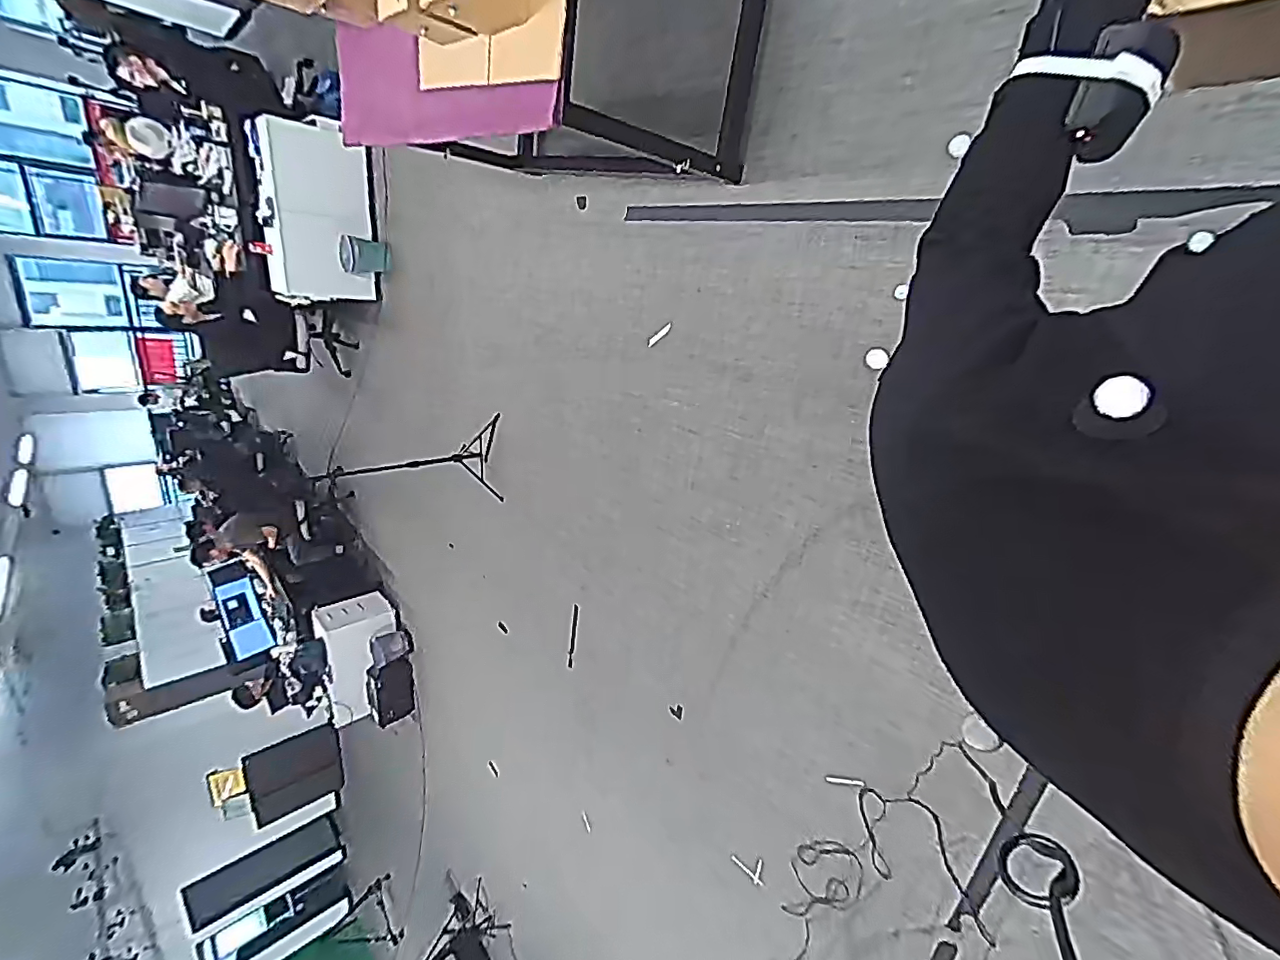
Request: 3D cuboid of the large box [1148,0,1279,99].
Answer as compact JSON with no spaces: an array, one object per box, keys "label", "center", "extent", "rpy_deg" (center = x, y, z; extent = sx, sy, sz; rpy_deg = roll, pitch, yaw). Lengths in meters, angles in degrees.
[{"label":"large box","center":[0.592,-0.442,0.287],"extent":[0.408,0.320,0.320],"rpy_deg":[21,123,40]}]
